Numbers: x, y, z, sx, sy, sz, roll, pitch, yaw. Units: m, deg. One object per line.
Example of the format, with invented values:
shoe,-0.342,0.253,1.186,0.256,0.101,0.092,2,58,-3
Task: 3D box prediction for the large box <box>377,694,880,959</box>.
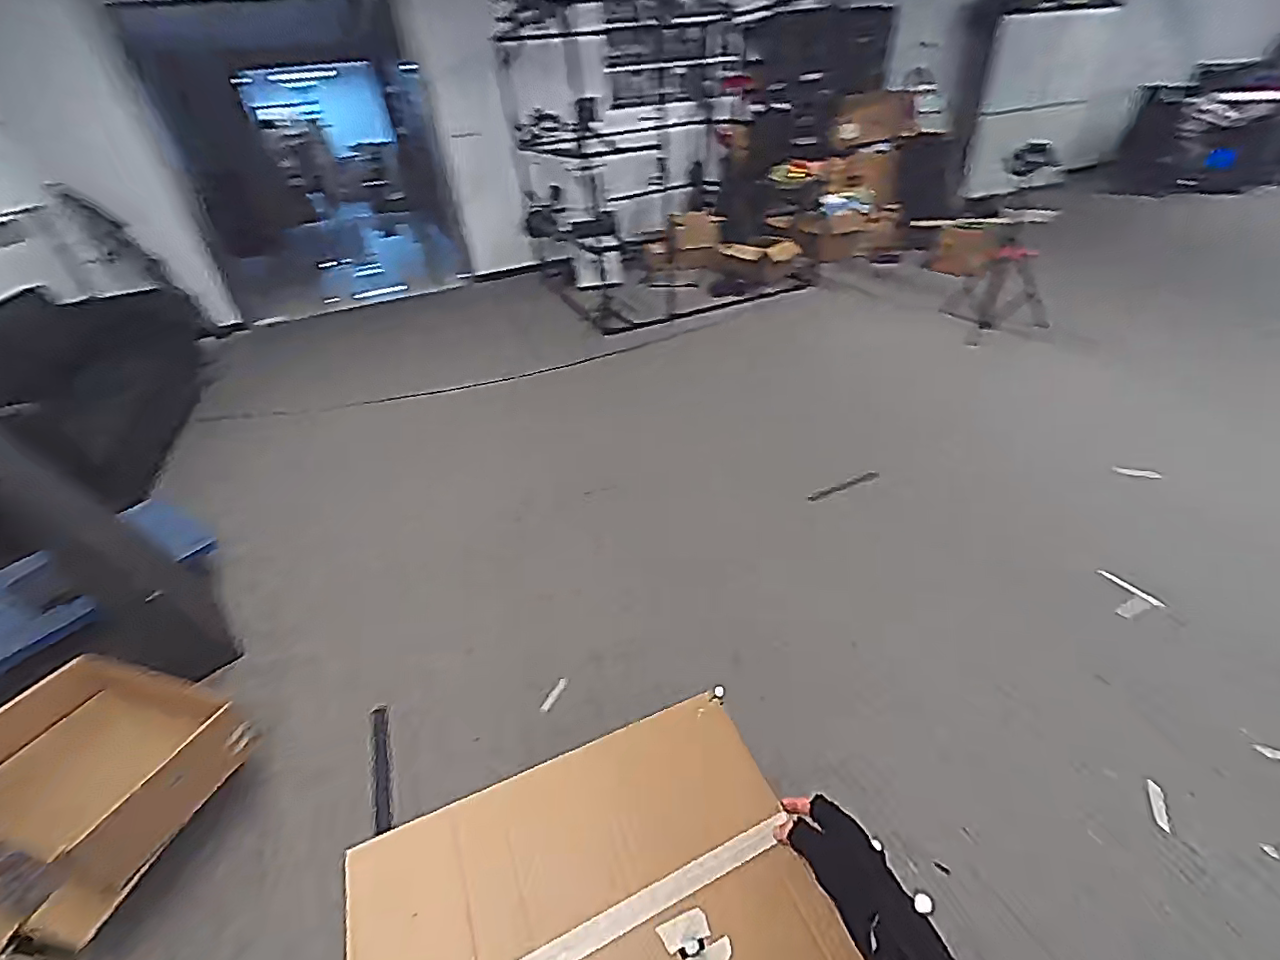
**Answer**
large box,-0.021,0.513,0.584,0.408,0.320,0.320,-15,42,-17
